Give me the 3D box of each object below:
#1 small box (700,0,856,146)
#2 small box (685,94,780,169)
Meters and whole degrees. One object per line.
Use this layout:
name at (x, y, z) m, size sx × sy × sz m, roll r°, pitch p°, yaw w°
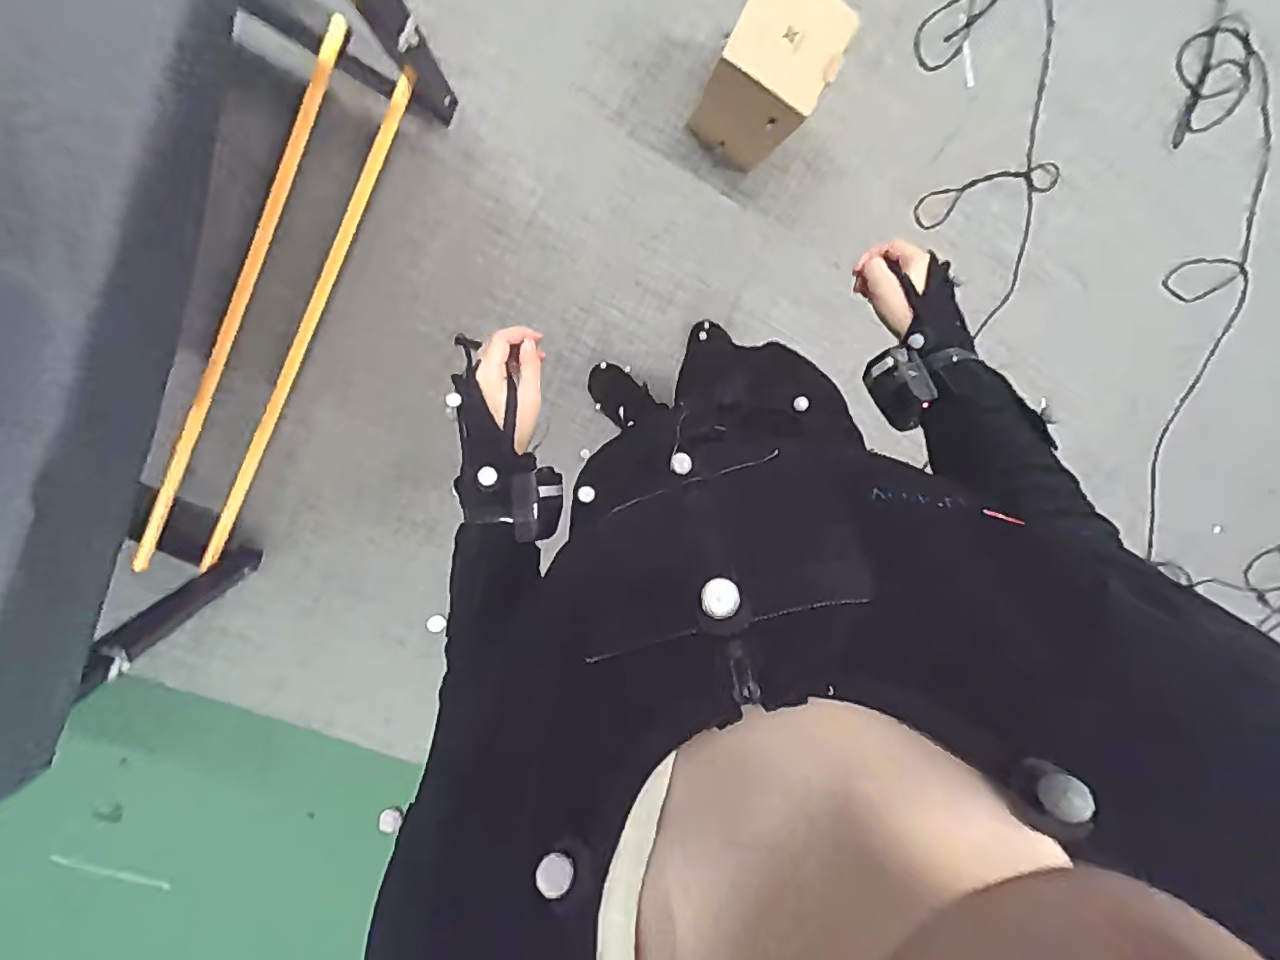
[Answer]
small box at (0.228, -0.719, 0.940) m, size 0.179 × 0.176 × 0.168 m, roll 26°, pitch 100°, yaw -11°
small box at (0.216, -0.764, 1.096) m, size 0.179 × 0.176 × 0.168 m, roll 28°, pitch 100°, yaw -14°
